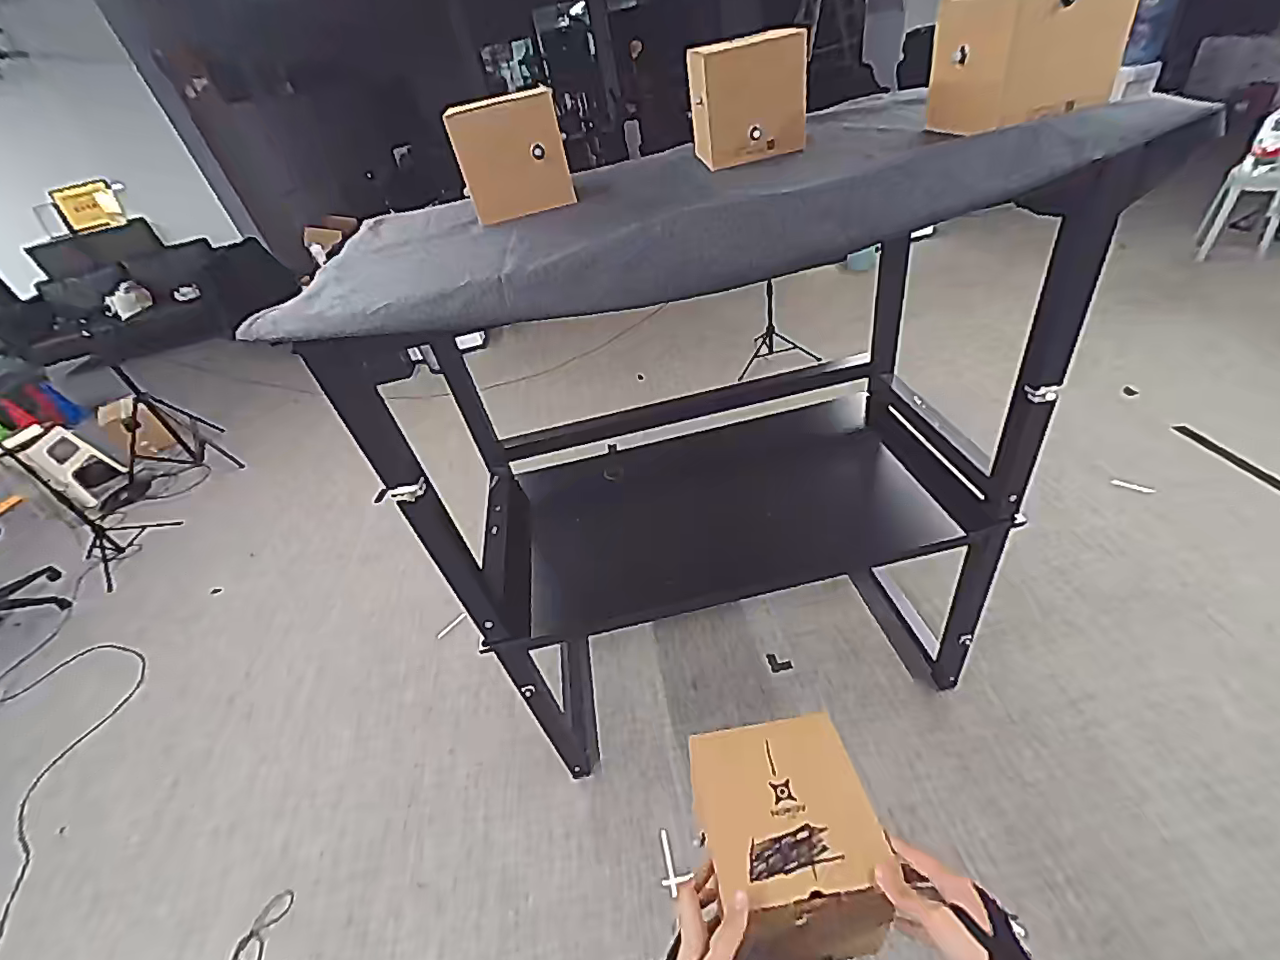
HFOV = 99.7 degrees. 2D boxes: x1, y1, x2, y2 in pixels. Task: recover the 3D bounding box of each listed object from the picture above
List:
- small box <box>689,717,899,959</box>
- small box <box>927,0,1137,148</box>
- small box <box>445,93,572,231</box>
[{"bbox_3d":[0.154,0.399,0.594,0.168,0.176,0.179,-8,31,-4],"label":"small box"},{"bbox_3d":[0.541,-0.593,0.775,0.168,0.176,0.179,-15,38,0],"label":"small box"},{"bbox_3d":[-0.224,-0.564,0.958,0.179,0.176,0.168,-15,39,-3],"label":"small box"}]
